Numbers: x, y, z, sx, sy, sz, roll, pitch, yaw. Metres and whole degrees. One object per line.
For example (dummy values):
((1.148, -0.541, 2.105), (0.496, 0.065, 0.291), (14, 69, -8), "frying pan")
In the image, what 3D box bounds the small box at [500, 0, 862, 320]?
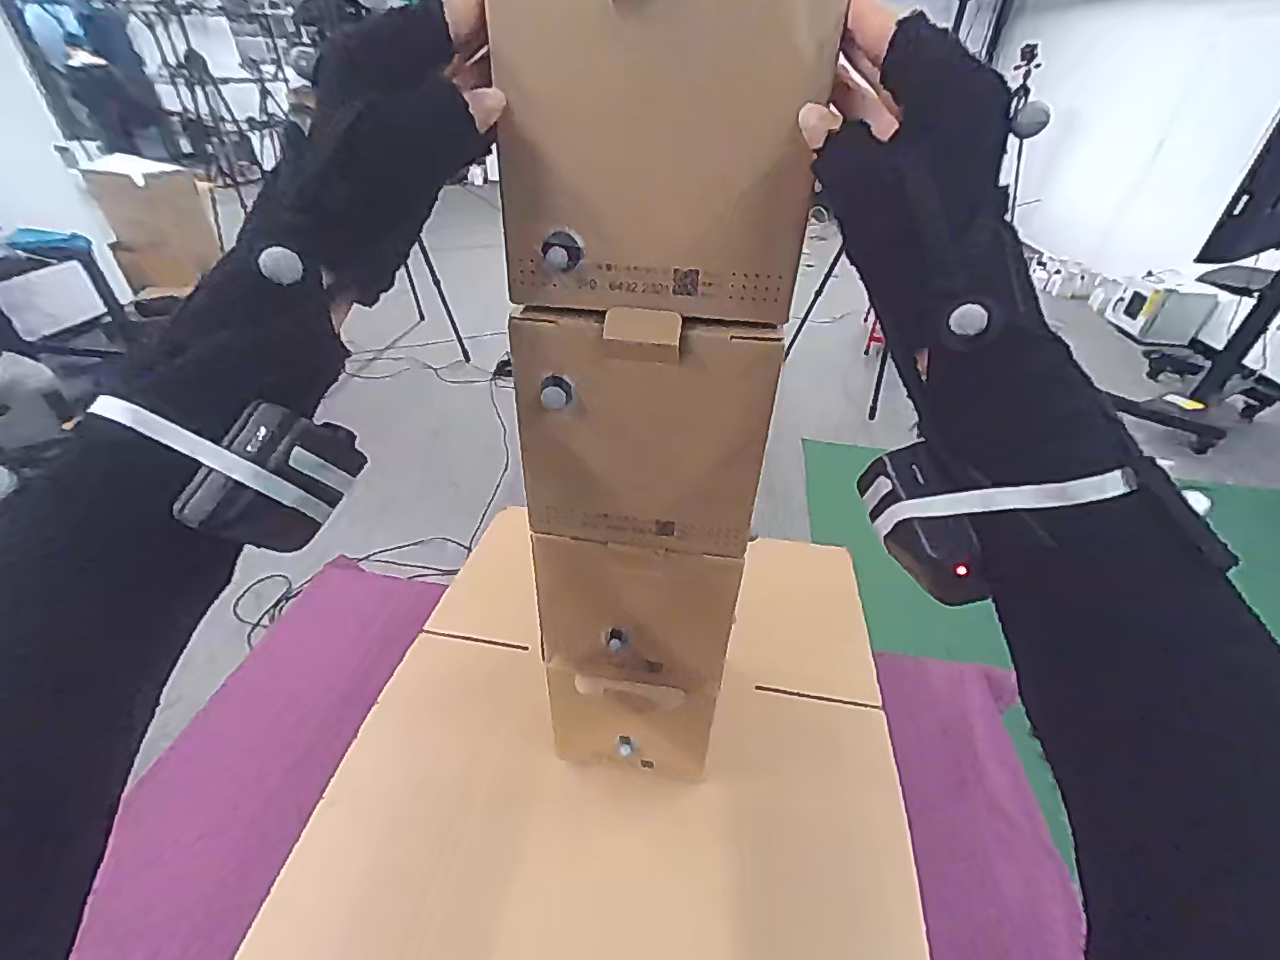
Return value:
((0.022, -0.210, 0.340), (0.168, 0.176, 0.179), (4, 35, 1), "small box")

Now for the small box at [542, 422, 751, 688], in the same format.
((0.010, 0.067, 0.522), (0.168, 0.176, 0.179), (7, 36, 5), "small box")

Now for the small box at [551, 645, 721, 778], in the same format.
((0.005, 0.200, 0.616), (0.168, 0.176, 0.179), (7, 36, 7), "small box")
